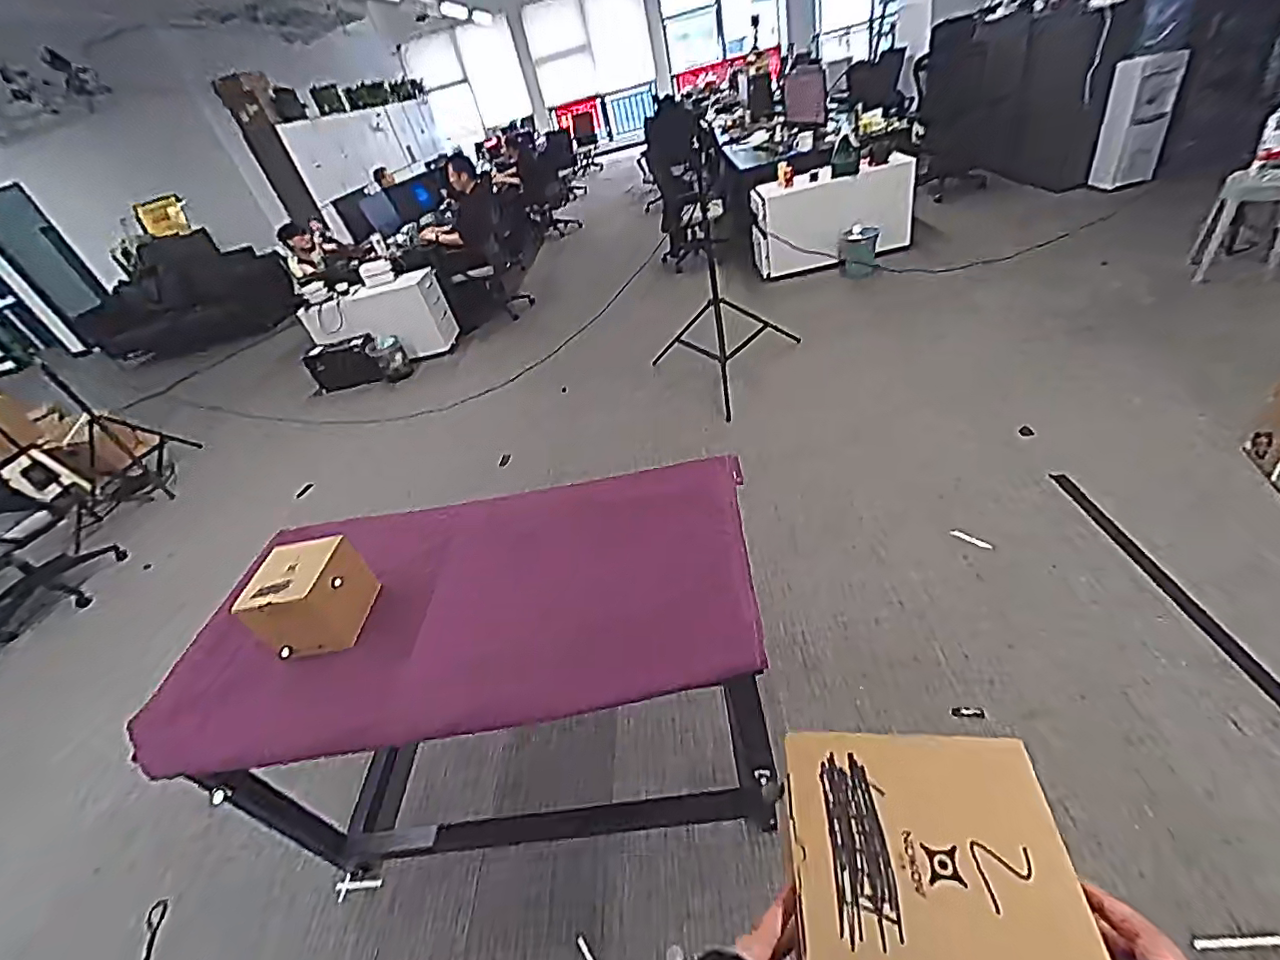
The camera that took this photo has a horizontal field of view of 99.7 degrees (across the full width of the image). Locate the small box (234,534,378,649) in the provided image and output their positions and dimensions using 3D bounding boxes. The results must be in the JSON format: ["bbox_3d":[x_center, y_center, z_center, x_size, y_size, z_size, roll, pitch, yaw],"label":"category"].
[{"bbox_3d":[-0.696,0.244,1.156,0.168,0.176,0.179,-10,37,7],"label":"small box"}]
